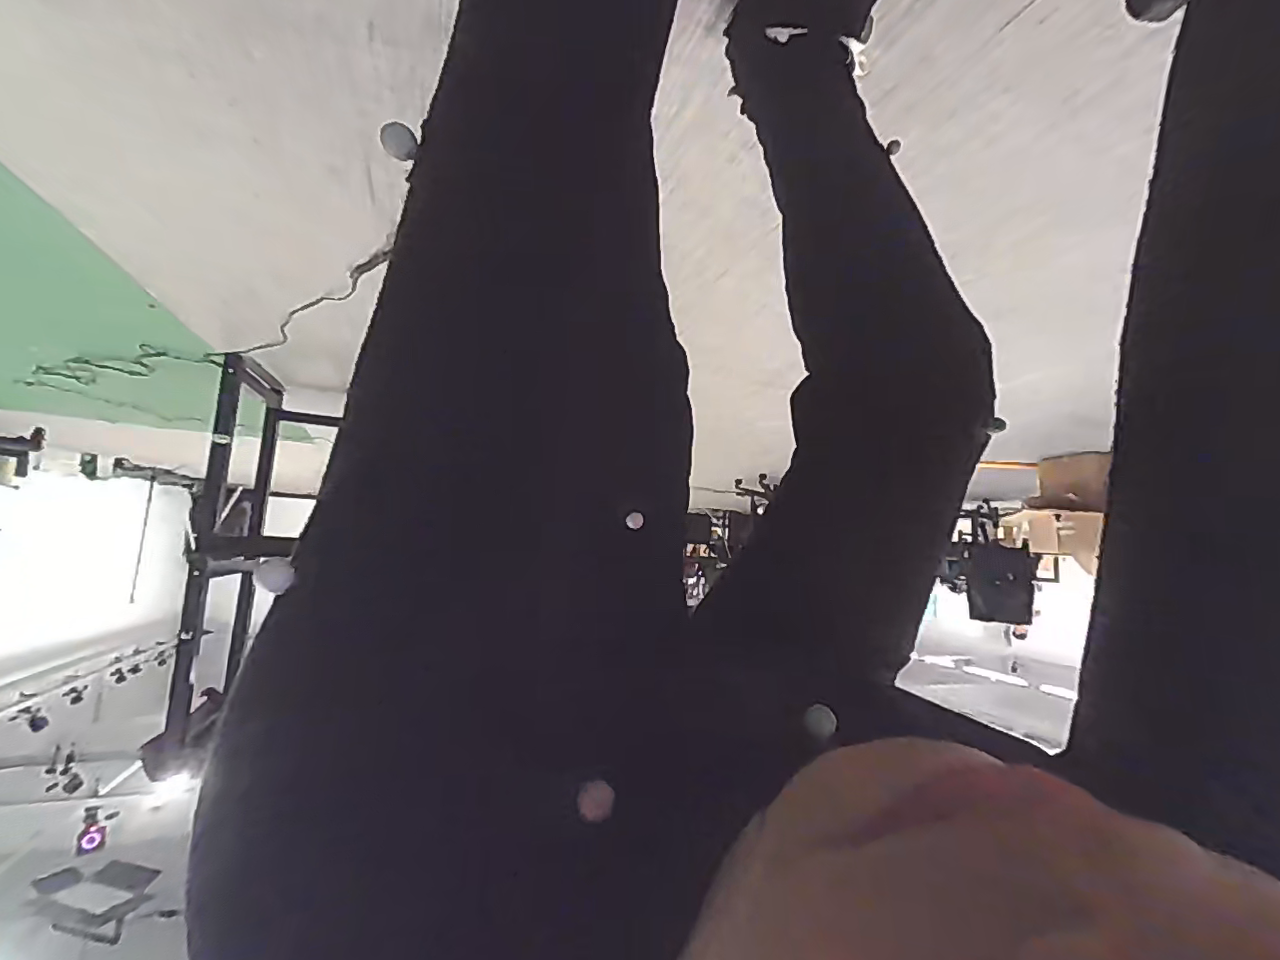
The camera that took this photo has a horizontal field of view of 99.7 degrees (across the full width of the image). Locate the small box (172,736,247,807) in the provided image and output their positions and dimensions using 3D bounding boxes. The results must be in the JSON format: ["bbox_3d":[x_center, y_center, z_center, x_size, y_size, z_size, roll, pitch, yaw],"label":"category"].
[{"bbox_3d":[-1.541,1.039,1.947,0.179,0.176,0.168,7,174,-24],"label":"small box"}]
